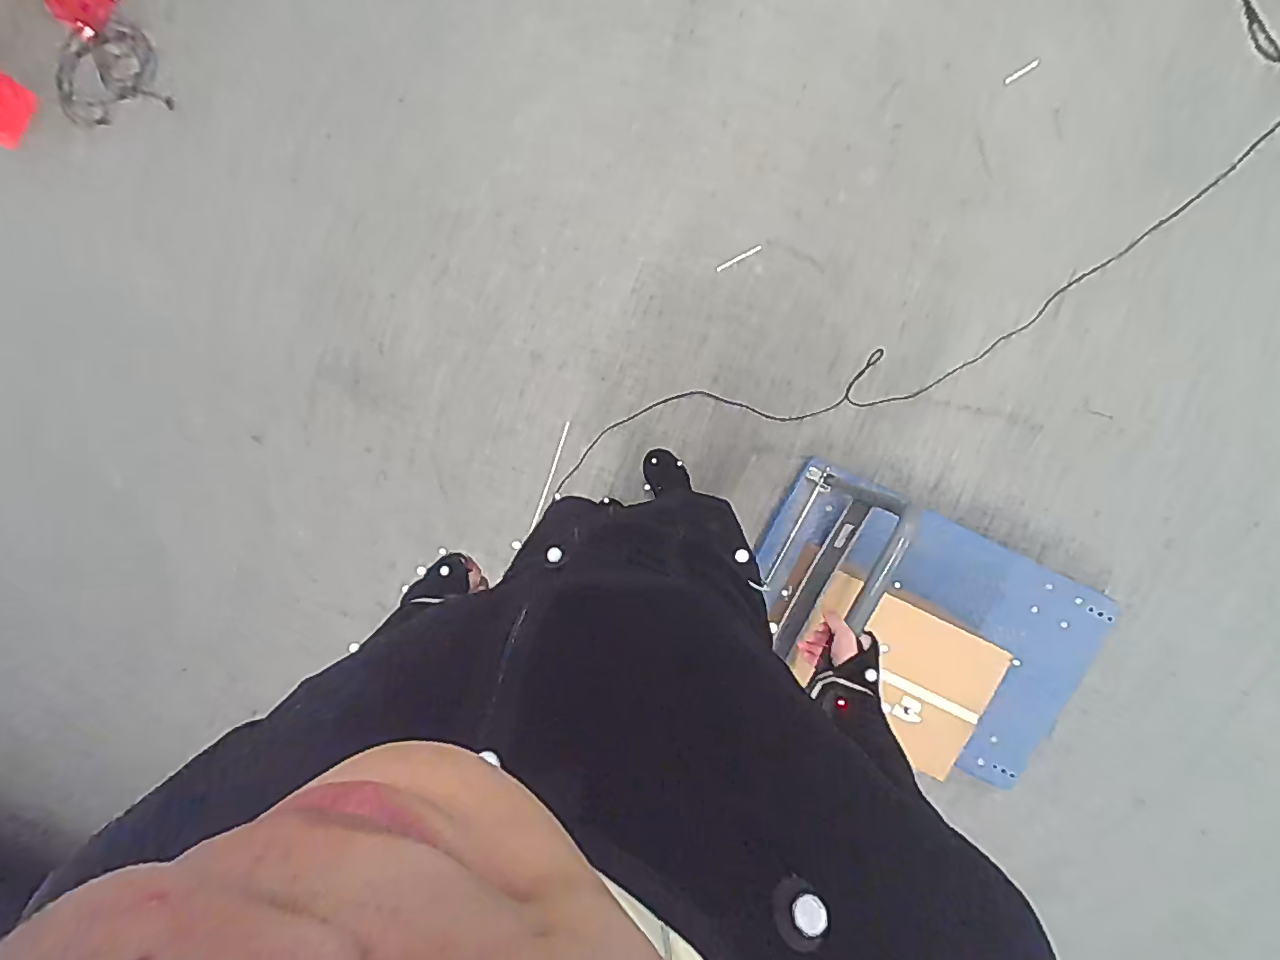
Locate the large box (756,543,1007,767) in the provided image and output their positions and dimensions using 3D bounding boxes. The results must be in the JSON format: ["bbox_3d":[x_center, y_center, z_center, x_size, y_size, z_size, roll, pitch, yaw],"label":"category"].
[{"bbox_3d":[0.539,0.389,1.301,0.408,0.320,0.320,26,97,3],"label":"large box"}]
